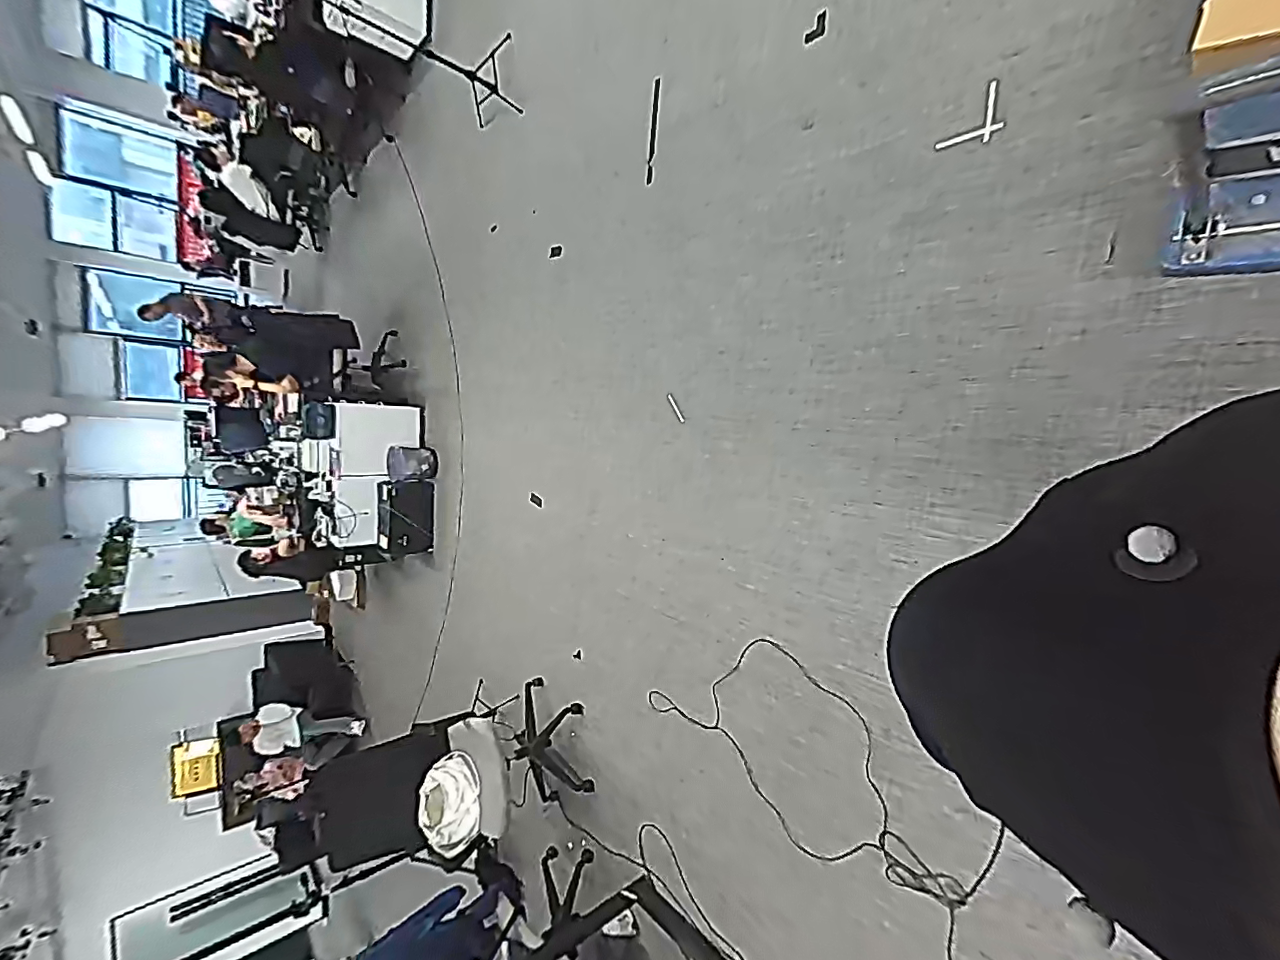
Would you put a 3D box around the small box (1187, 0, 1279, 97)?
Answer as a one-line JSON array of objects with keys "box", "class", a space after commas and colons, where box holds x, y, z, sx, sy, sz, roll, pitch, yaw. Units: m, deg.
[{"box": [0.978, -0.718, 0.818, 0.179, 0.176, 0.168, 22, 107, 44], "class": "small box"}]
